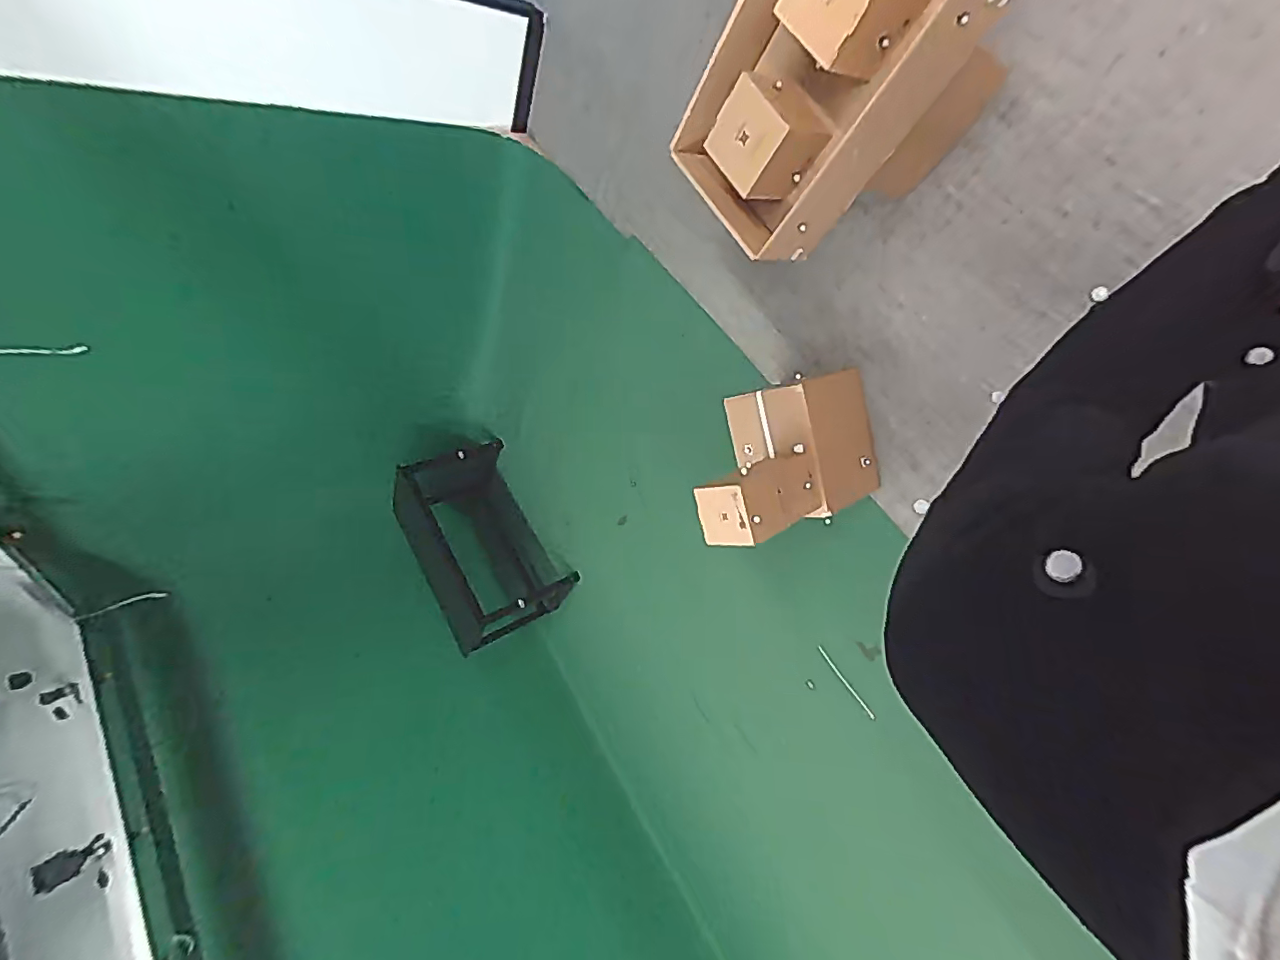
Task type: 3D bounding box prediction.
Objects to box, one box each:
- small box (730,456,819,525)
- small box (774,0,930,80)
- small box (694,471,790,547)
[{"bbox_3d":[0.398,0.034,1.598,0.179,0.176,0.168,-6,102,51],"label":"small box"},{"bbox_3d":[0.393,-0.883,1.003,0.179,0.176,0.168,57,142,13],"label":"small box"},{"bbox_3d":[0.282,0.078,1.491,0.179,0.176,0.168,-6,101,52],"label":"small box"}]
